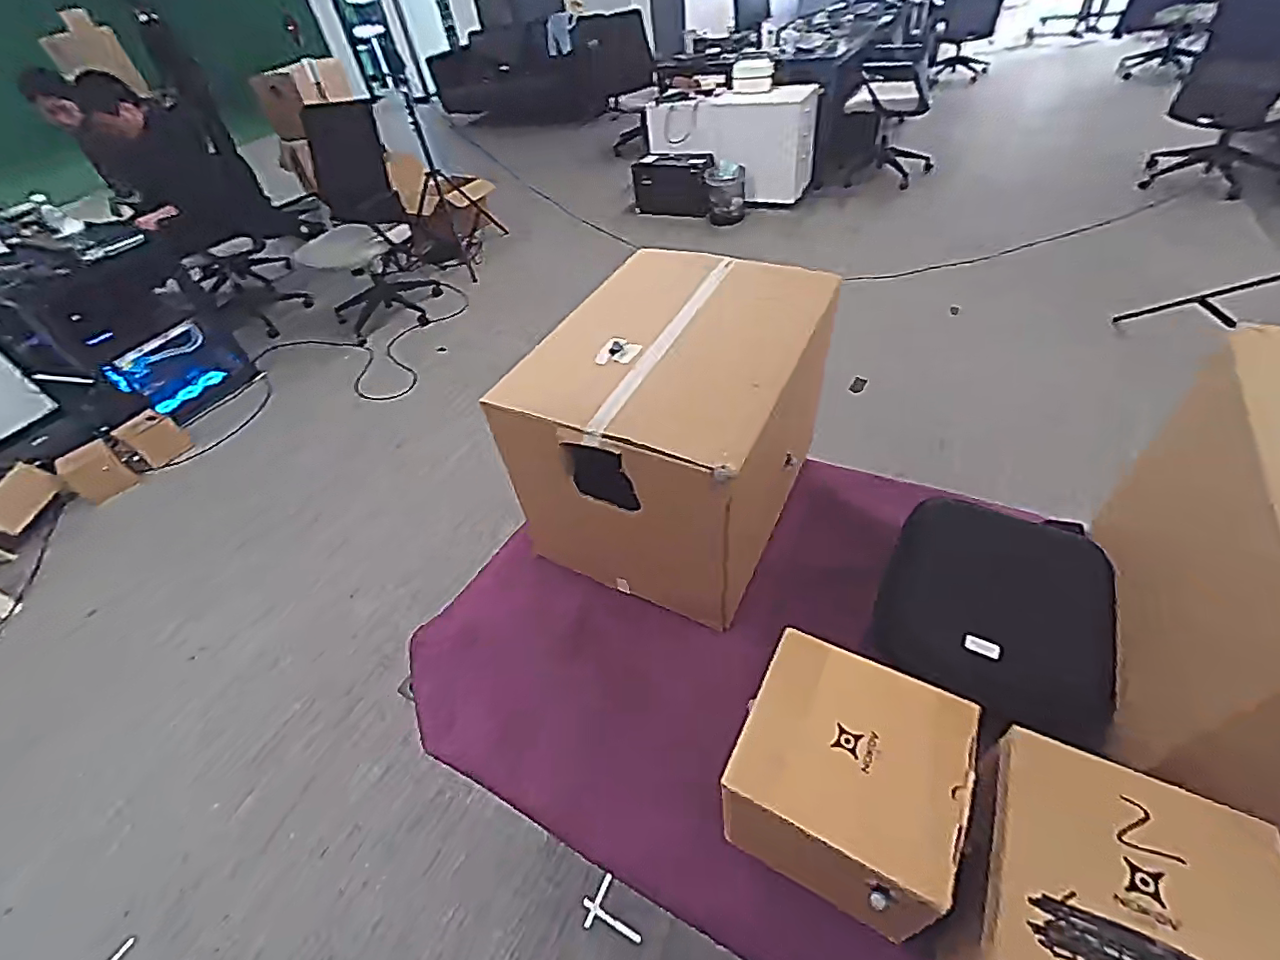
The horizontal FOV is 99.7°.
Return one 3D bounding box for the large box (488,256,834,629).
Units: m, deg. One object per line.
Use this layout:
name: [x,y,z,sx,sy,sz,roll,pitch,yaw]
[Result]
large box: [0.058,-0.071,0.787,0.320,0.320,0.408,17,53,23]
